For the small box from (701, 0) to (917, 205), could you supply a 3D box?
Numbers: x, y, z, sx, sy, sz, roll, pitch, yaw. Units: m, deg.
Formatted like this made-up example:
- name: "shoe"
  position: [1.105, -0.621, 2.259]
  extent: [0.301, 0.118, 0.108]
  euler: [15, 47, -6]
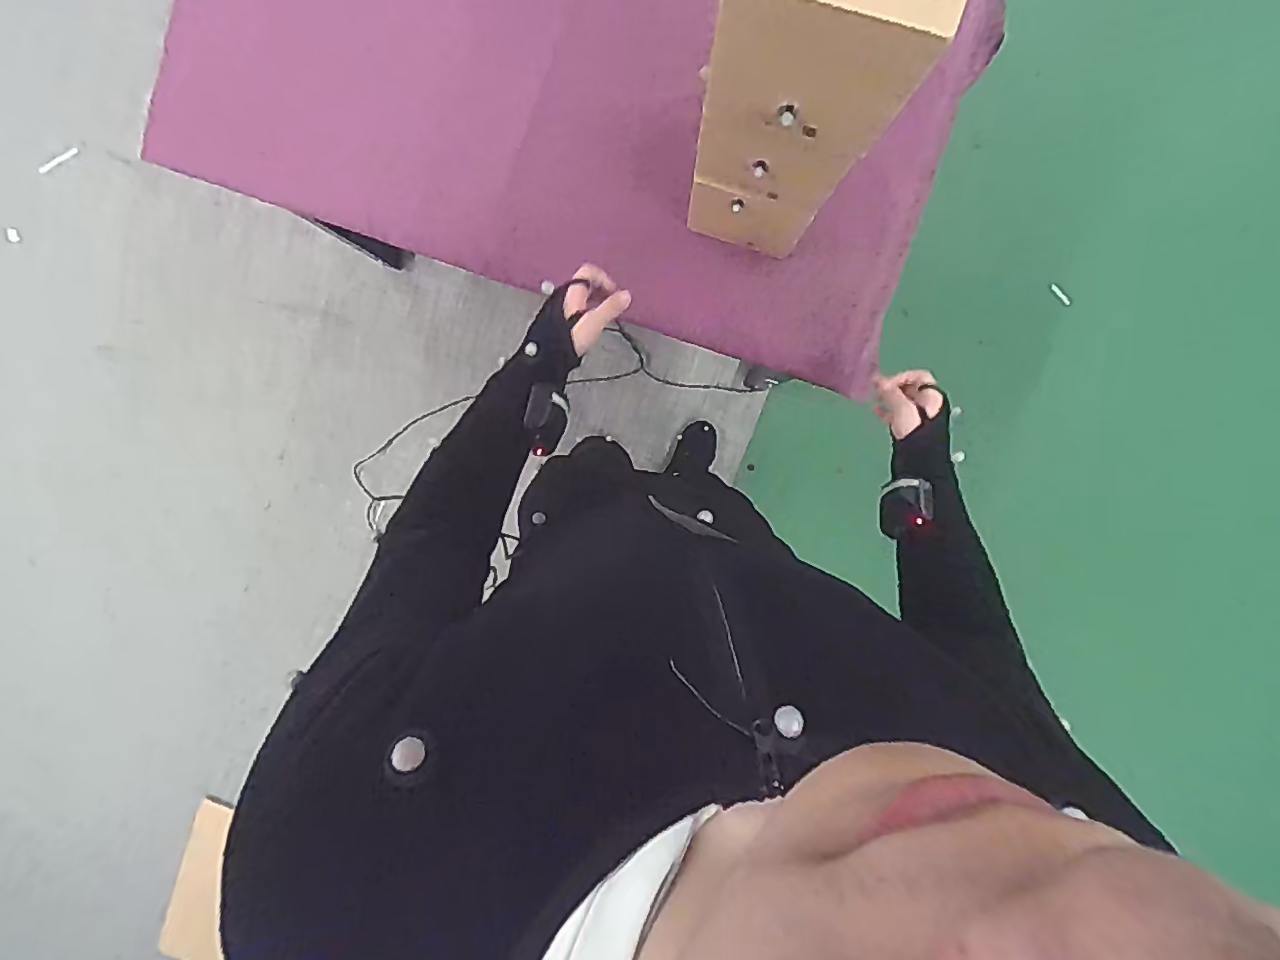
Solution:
- name: "small box"
  position: [0.172, -0.440, 0.598]
  extent: [0.168, 0.176, 0.179]
  euler: [20, 96, 0]

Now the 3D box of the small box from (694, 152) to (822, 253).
- name: "small box"
  position: [0.178, -0.453, 0.763]
  extent: [0.168, 0.176, 0.179]
  euler: [18, 95, 1]
